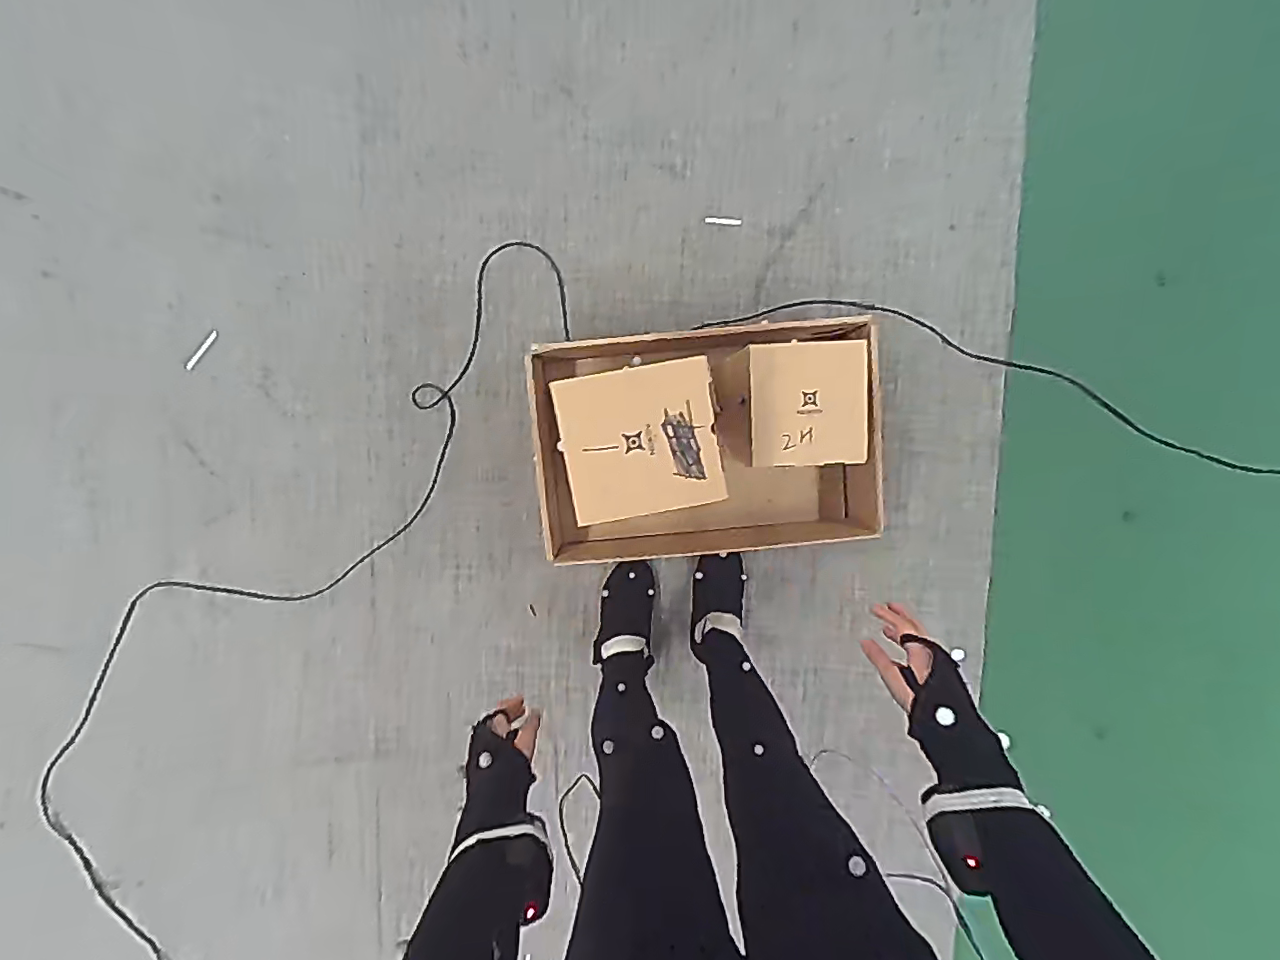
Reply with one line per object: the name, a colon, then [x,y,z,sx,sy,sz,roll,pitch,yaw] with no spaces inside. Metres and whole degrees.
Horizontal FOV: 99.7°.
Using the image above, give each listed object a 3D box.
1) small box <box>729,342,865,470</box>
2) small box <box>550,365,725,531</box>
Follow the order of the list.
small box: [0.234,-0.111,0.838,0.168,0.176,0.179,-3,97,0]
small box: [-0.004,-0.046,0.681,0.179,0.176,0.168,-10,97,0]
